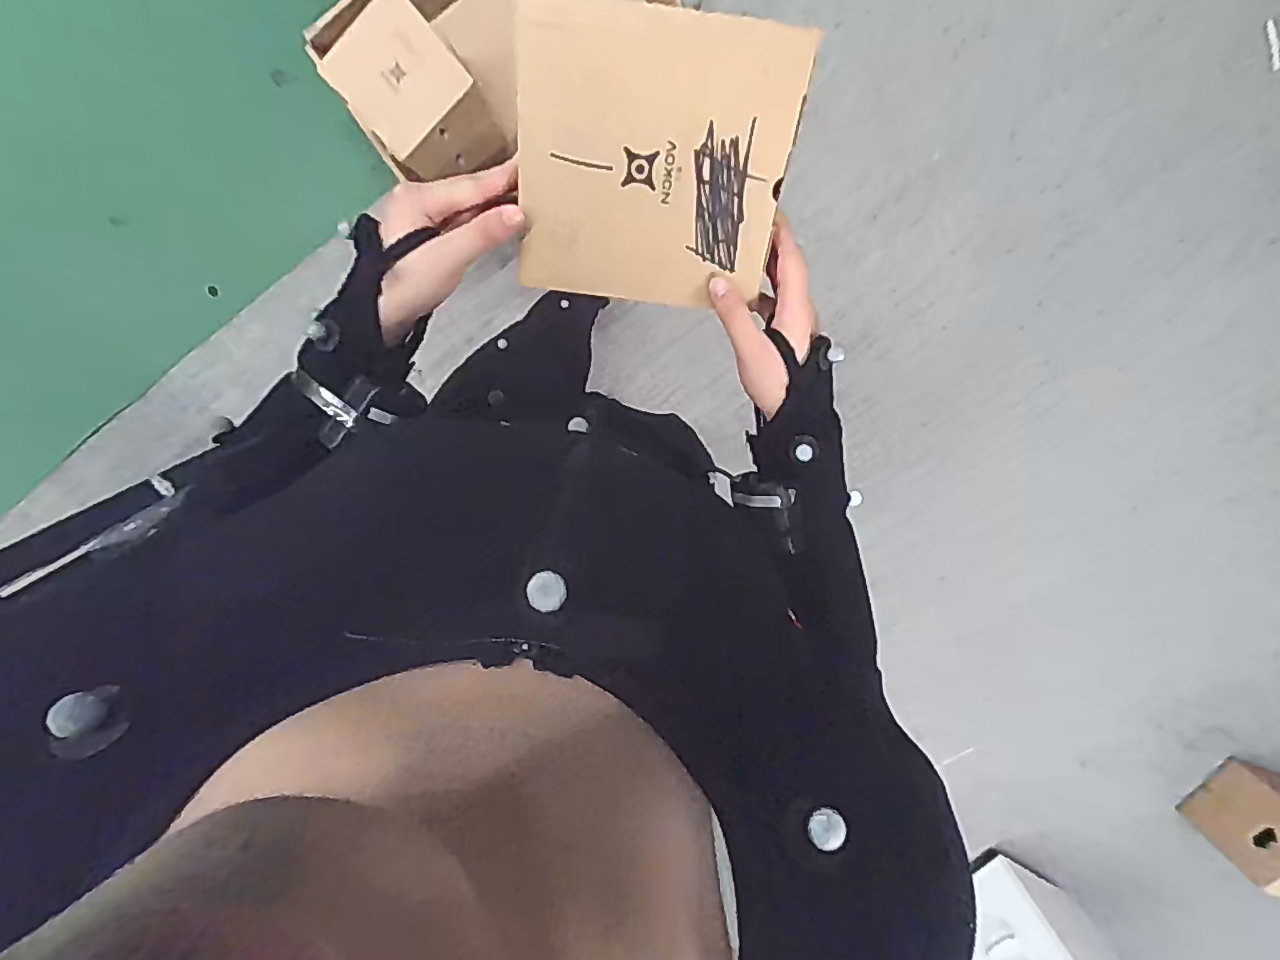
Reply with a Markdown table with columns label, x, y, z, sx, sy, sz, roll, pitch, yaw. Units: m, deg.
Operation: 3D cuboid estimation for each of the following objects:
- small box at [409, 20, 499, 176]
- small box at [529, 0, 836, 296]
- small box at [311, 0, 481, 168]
| label | x | y | z | sx | sy | sz | roll | pitch | yaw |
| --- | --- | --- | --- | --- | --- | --- | --- | --- | --- |
| small box | -0.396 | -0.719 | 1.043 | 0.179 | 0.176 | 0.168 | -30 | 112 | 8 |
| small box | 0.016 | -0.255 | 0.410 | 0.179 | 0.176 | 0.168 | 6 | 125 | -4 |
| small box | -0.386 | -0.654 | 0.893 | 0.179 | 0.176 | 0.168 | -41 | 111 | 9 |
